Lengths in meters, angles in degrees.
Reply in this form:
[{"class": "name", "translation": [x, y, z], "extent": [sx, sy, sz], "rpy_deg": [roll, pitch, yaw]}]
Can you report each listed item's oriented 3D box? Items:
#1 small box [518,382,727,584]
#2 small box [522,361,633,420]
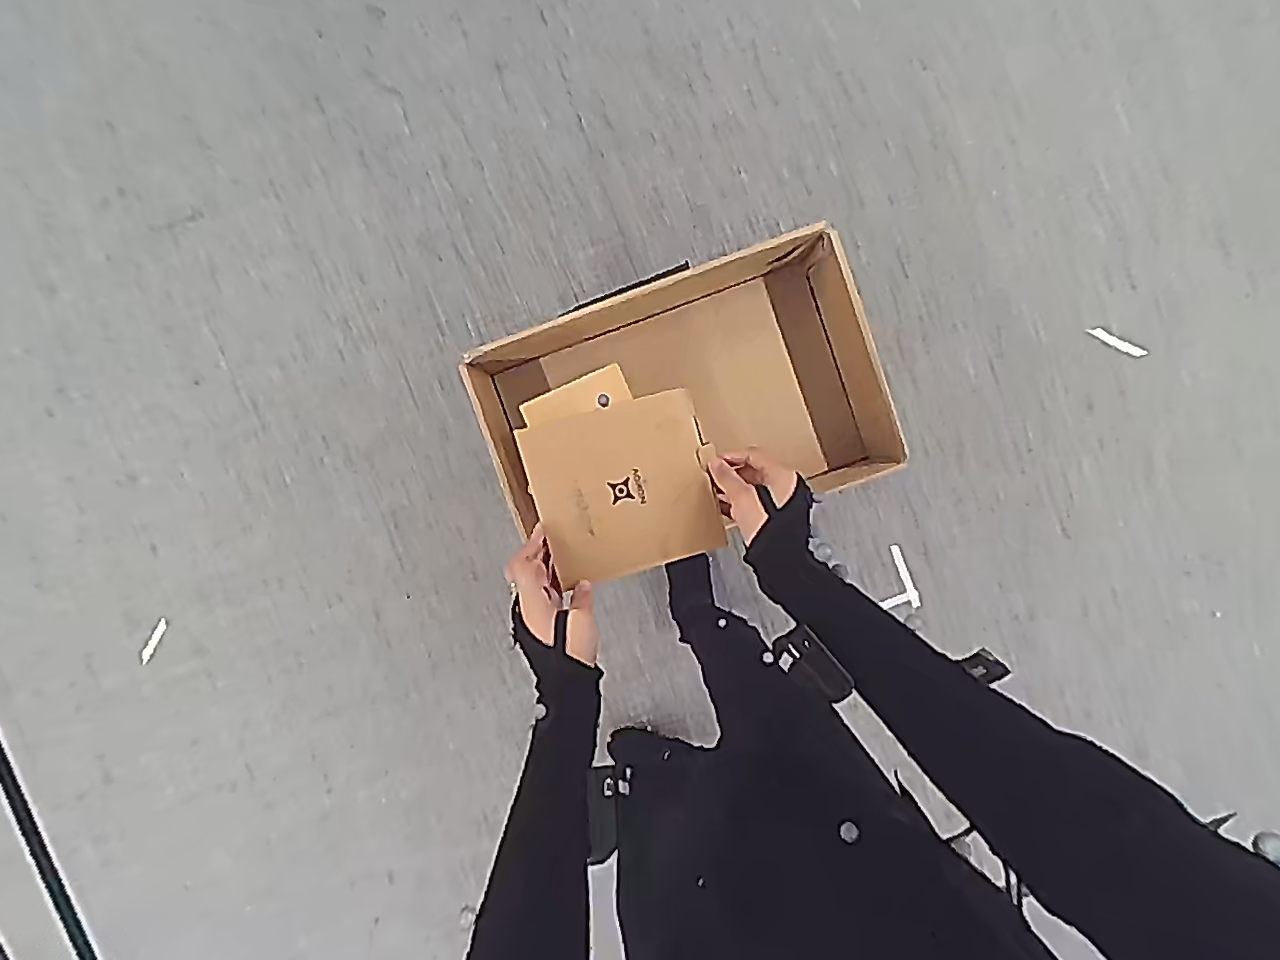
[{"class": "small box", "translation": [-0.023, -0.004, 0.604], "extent": [0.179, 0.176, 0.168], "rpy_deg": [-15, 95, -4]}, {"class": "small box", "translation": [-0.072, -0.072, 0.893], "extent": [0.168, 0.176, 0.179], "rpy_deg": [-24, 93, 3]}]
